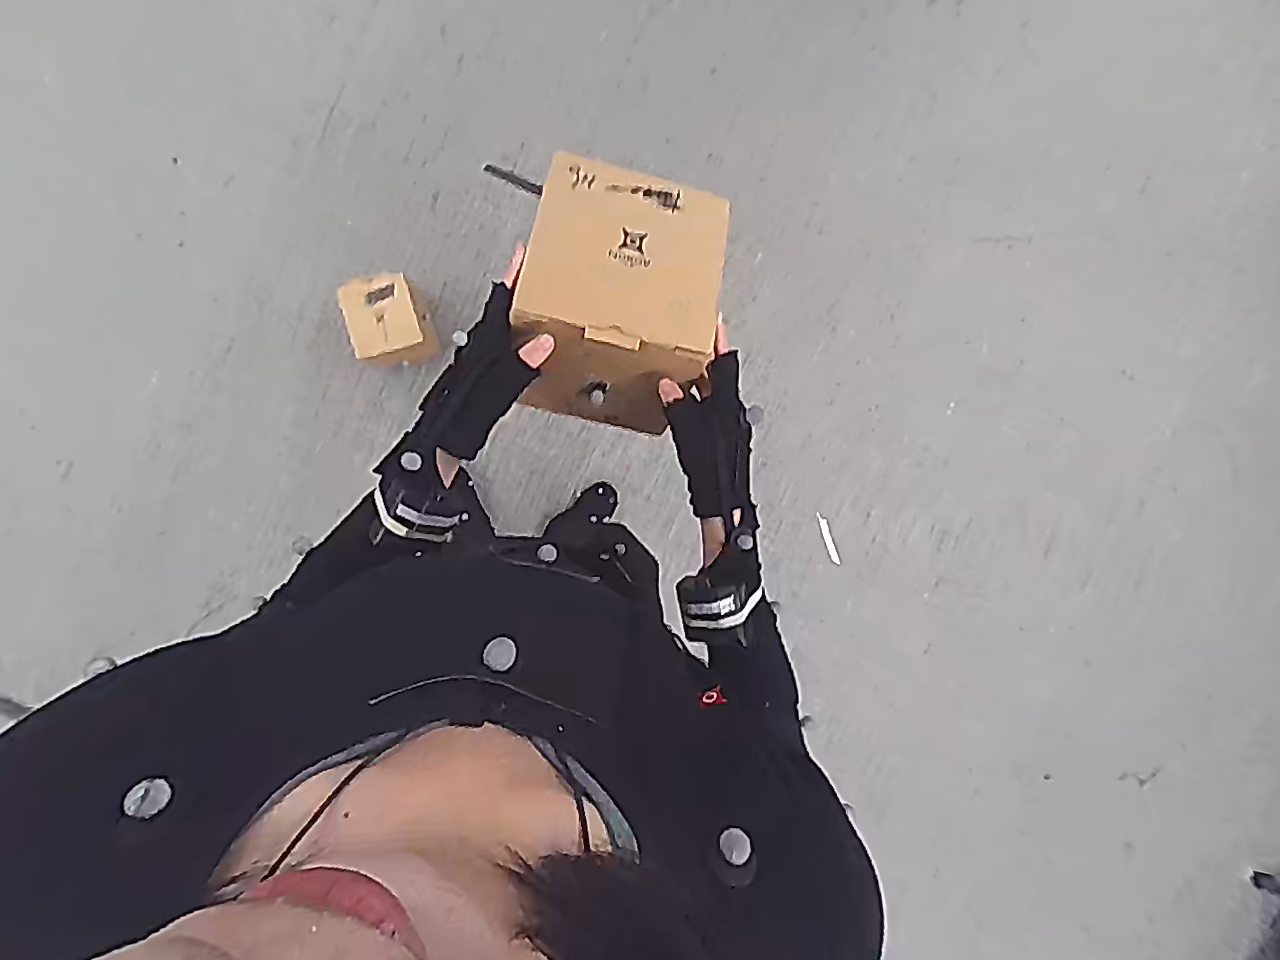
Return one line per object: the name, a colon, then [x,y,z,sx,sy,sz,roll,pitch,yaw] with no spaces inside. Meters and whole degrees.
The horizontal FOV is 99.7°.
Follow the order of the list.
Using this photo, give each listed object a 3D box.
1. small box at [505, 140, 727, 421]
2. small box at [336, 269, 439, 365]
small box: [-0.028,-0.175,0.525,0.168,0.176,0.179,11,72,-8]
small box: [-0.632,-0.407,1.373,0.168,0.176,0.179,-15,95,-4]
